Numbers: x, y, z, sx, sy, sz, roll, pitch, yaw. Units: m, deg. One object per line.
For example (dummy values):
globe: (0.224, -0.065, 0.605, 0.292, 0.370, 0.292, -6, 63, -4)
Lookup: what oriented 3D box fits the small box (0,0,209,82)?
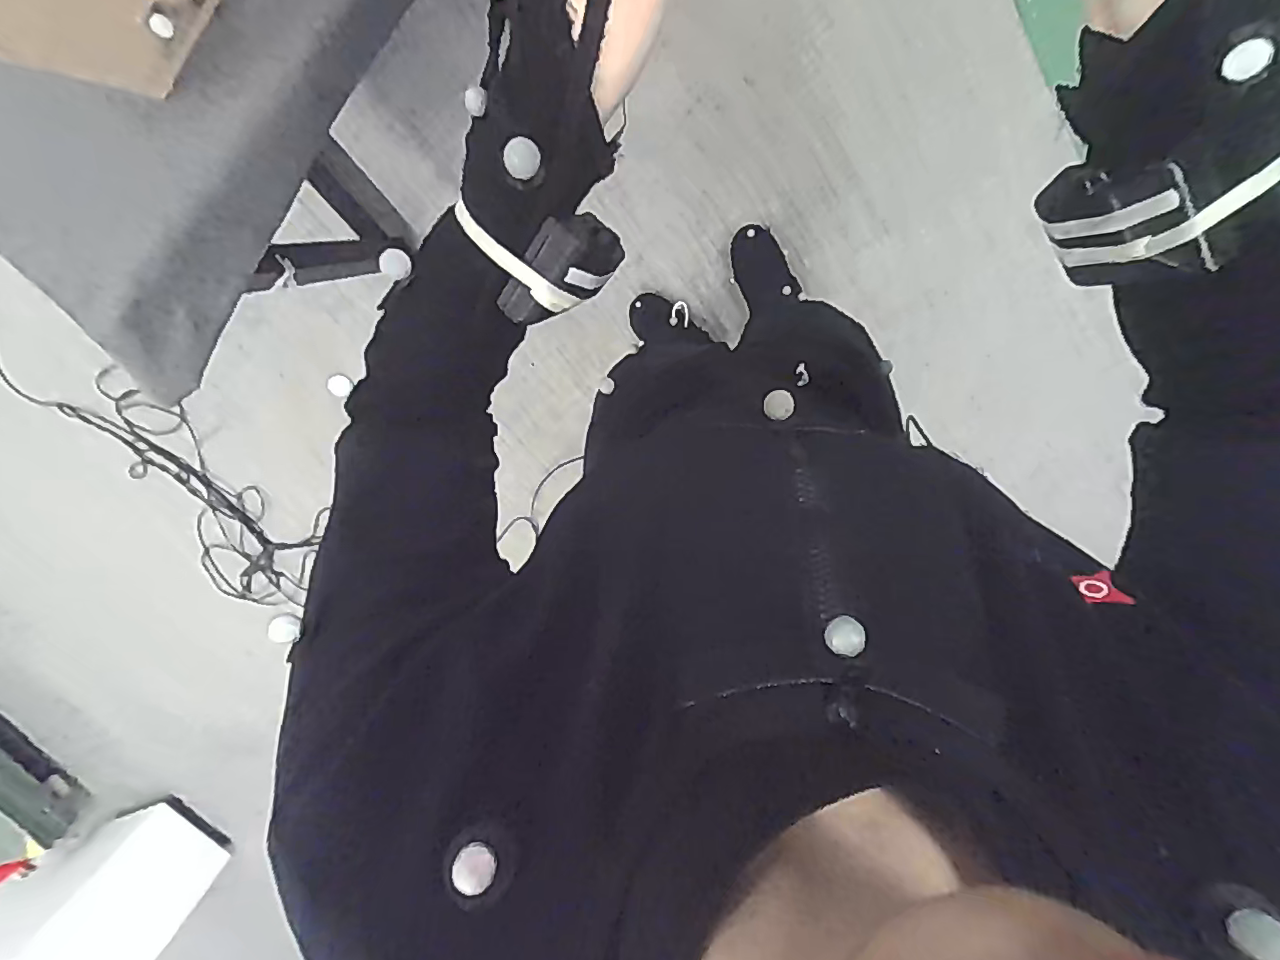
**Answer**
small box: (-0.461, -0.437, 0.389, 0.168, 0.176, 0.179, -37, 107, 21)
